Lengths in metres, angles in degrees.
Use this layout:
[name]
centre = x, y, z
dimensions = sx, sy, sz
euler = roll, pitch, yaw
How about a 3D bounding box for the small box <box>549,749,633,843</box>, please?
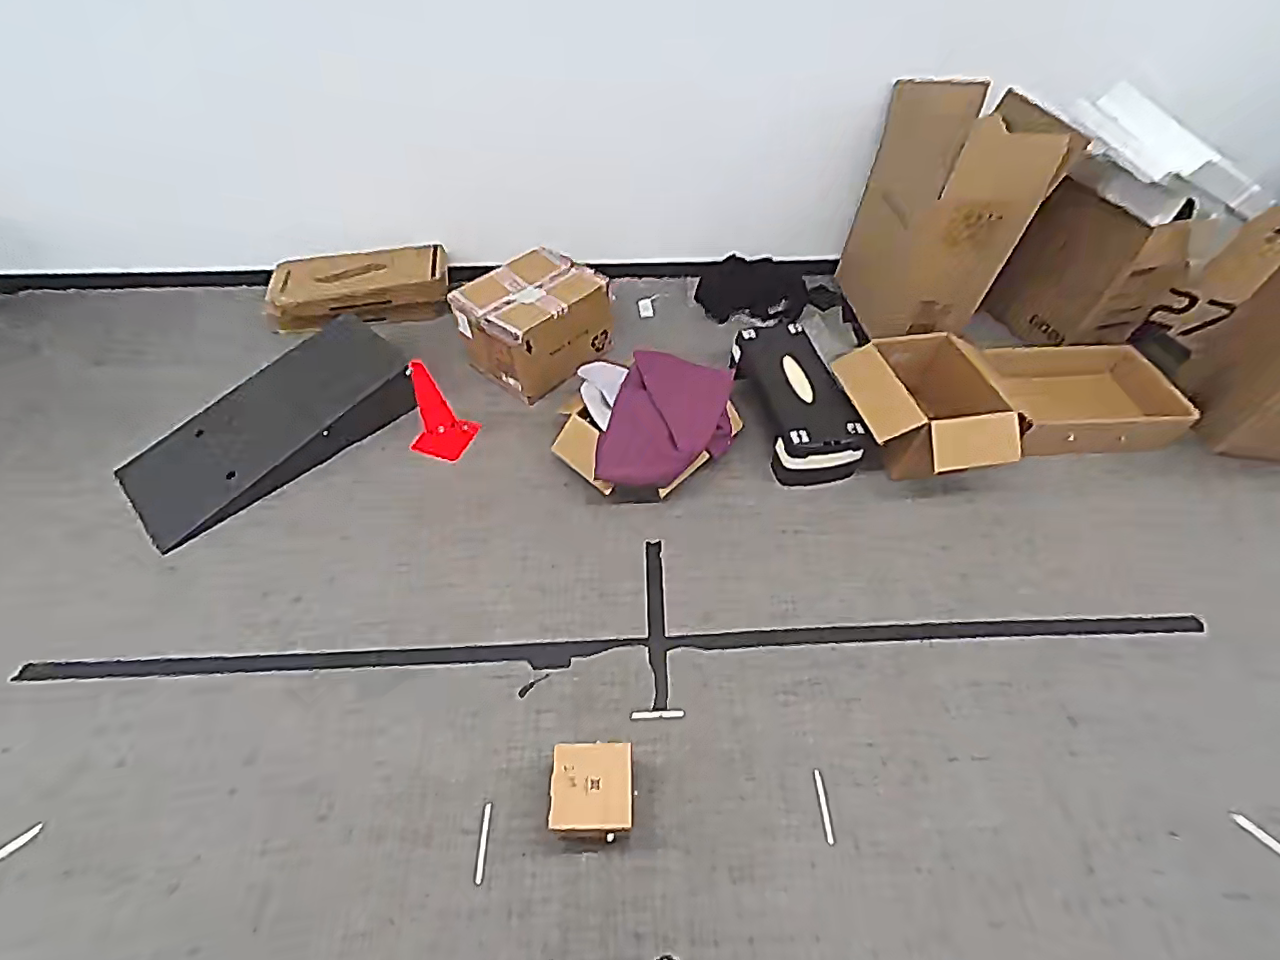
[small box]
centre = -0.105, 0.723, 1.236
dimensions = 0.179, 0.176, 0.168
euler = -1, 51, 0
